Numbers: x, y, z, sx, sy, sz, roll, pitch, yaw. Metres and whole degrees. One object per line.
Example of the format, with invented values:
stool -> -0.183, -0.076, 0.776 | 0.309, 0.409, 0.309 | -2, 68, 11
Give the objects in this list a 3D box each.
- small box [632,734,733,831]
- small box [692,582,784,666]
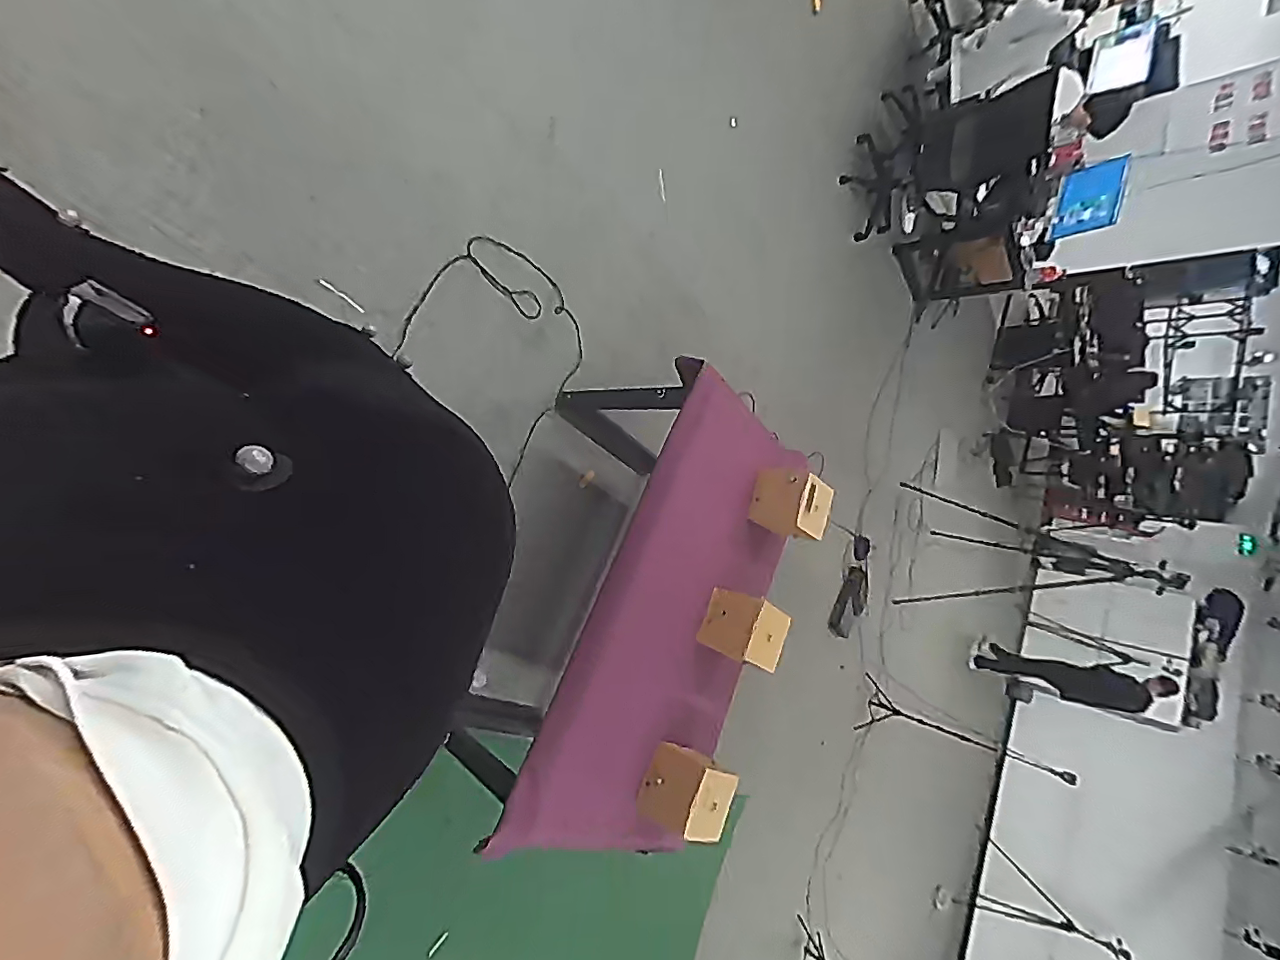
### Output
small box -> 0.112, 0.798, 1.434 | 0.179, 0.176, 0.168 | 38, 68, -41
small box -> 0.281, 0.409, 1.553 | 0.179, 0.176, 0.168 | 37, 70, -41
